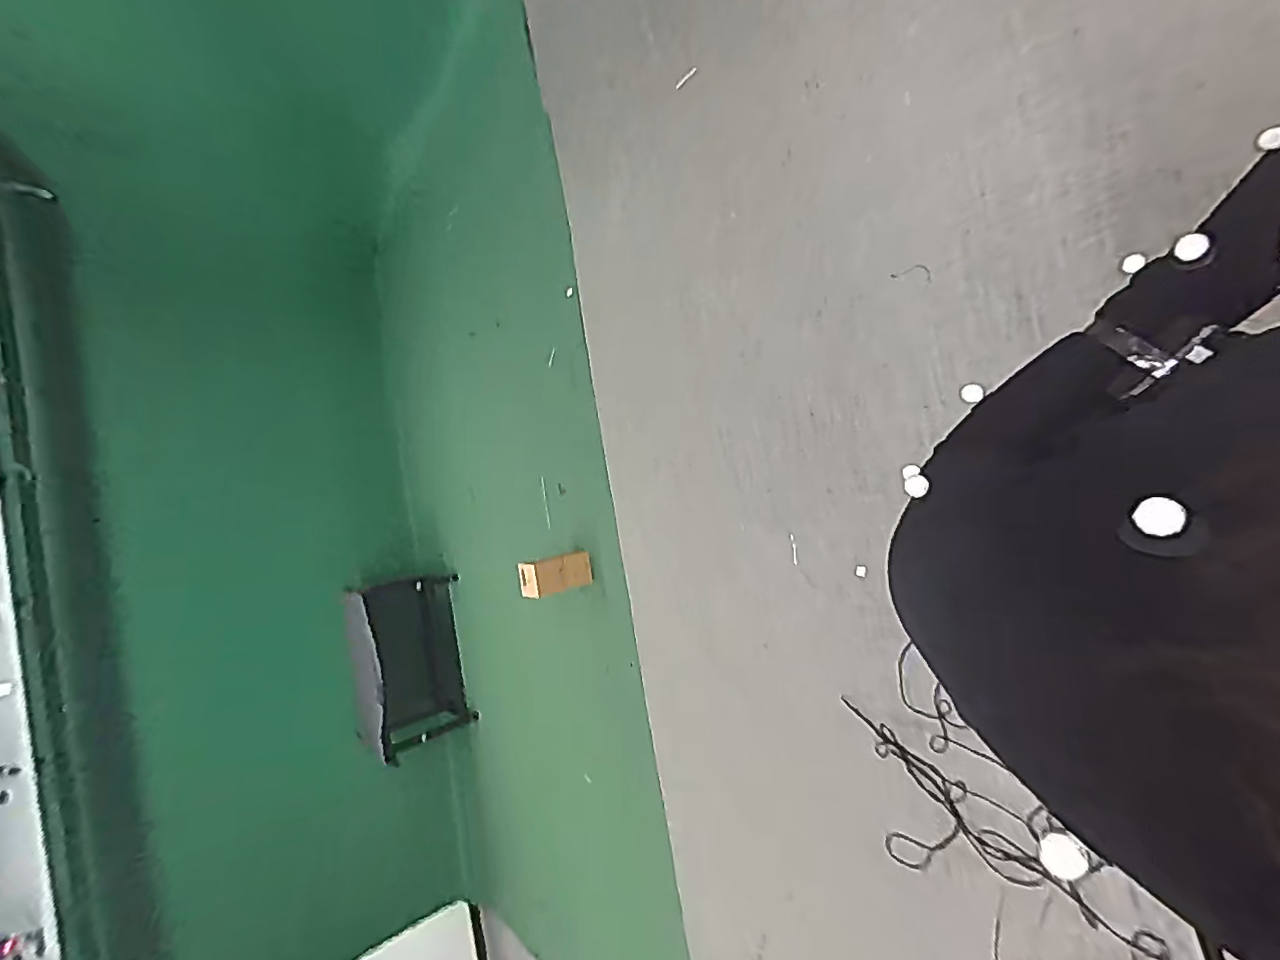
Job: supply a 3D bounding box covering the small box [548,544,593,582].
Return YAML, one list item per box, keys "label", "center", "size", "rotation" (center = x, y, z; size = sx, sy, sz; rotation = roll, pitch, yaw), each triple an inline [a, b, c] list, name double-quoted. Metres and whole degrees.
- label: "small box"
  center: [-0.362, 0.438, 2.868]
  size: [0.179, 0.176, 0.168]
  rotation: [-9, 91, 52]
